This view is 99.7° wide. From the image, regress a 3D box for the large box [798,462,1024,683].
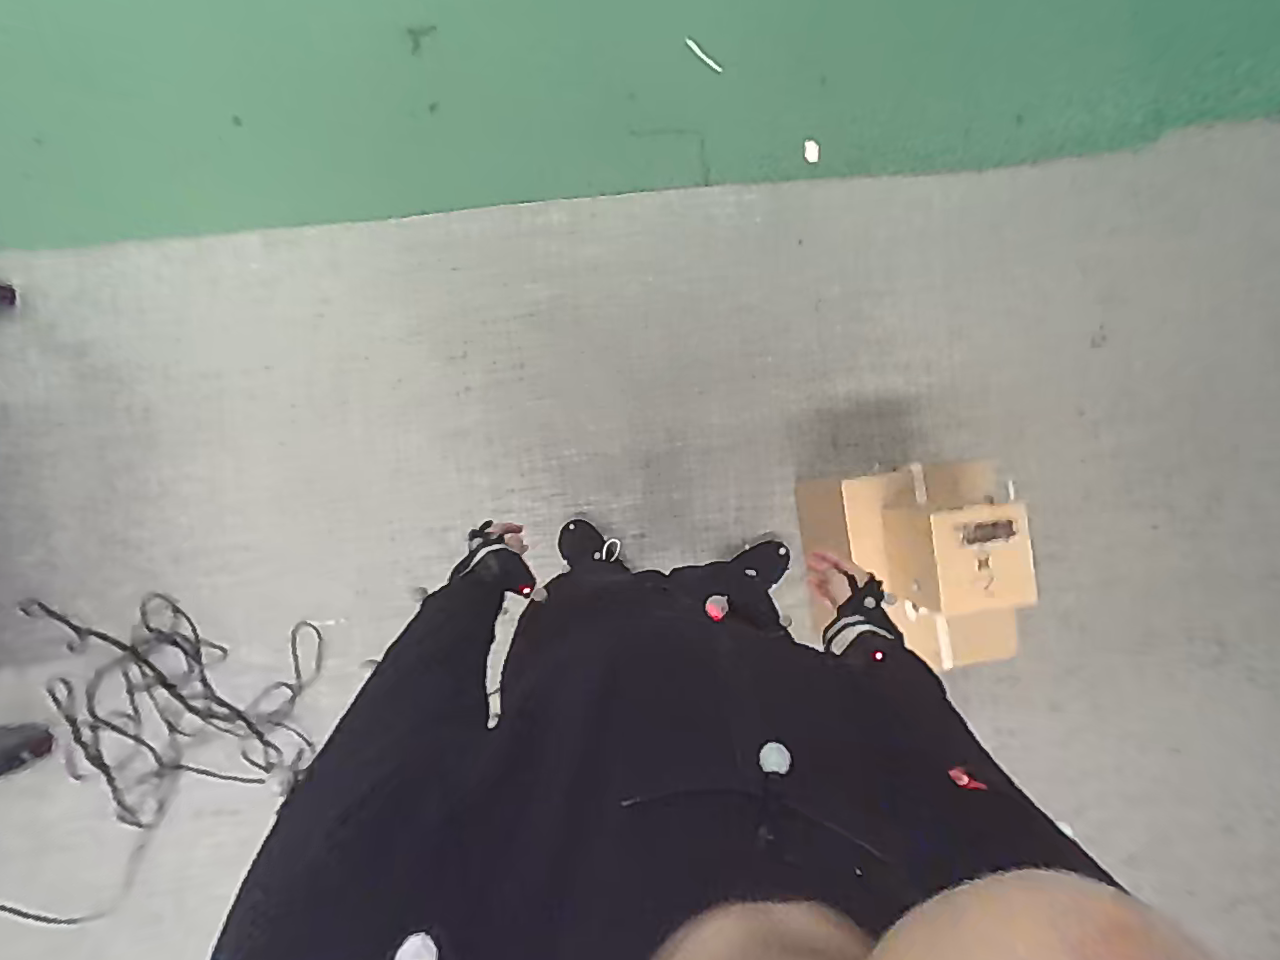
[{"bbox_3d":[0.579,0.183,1.219,0.320,0.320,0.408,-8,90,0],"label":"large box"}]
